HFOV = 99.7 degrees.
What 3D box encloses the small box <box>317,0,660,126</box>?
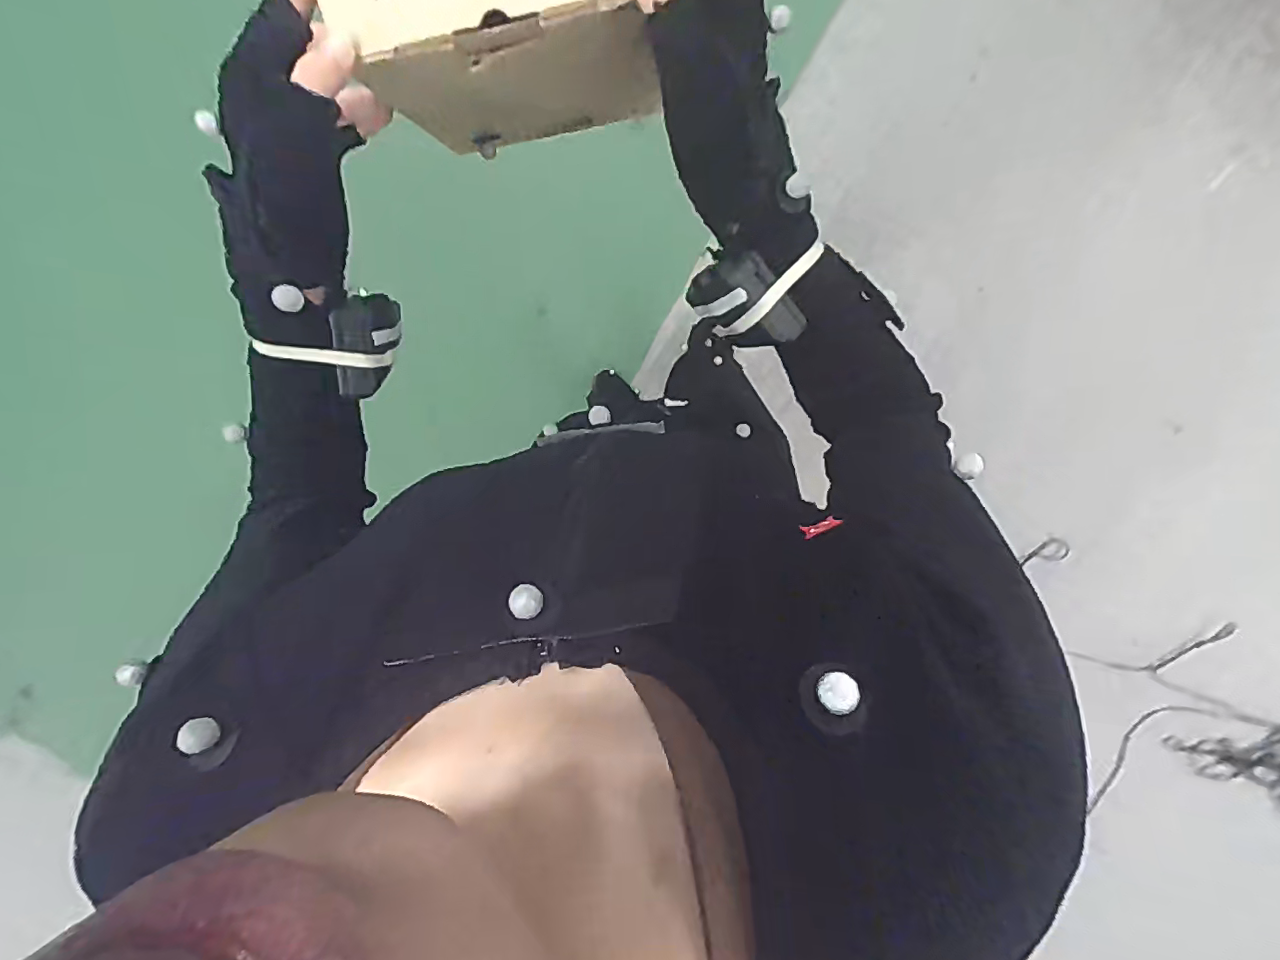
[{"bbox_3d":[-0.081,-0.329,0.308,0.168,0.176,0.179,-8,107,5],"label":"small box"}]
